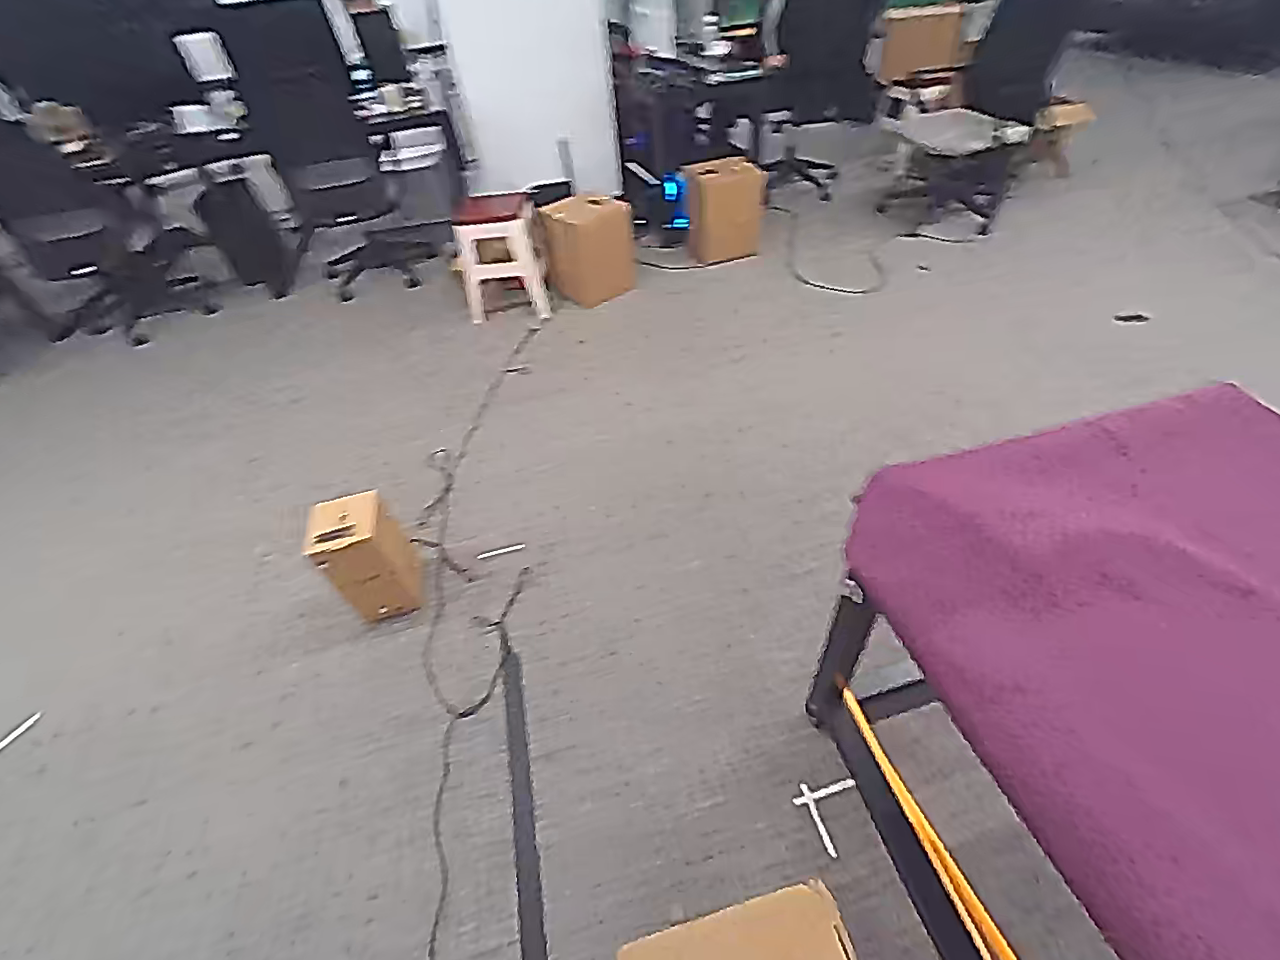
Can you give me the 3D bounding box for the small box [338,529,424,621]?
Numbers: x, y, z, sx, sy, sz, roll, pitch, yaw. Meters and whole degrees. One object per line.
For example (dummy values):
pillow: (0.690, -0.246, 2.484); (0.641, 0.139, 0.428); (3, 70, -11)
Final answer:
small box: (-0.735, 0.274, 1.554); (0.168, 0.176, 0.179); (-15, 47, -7)
